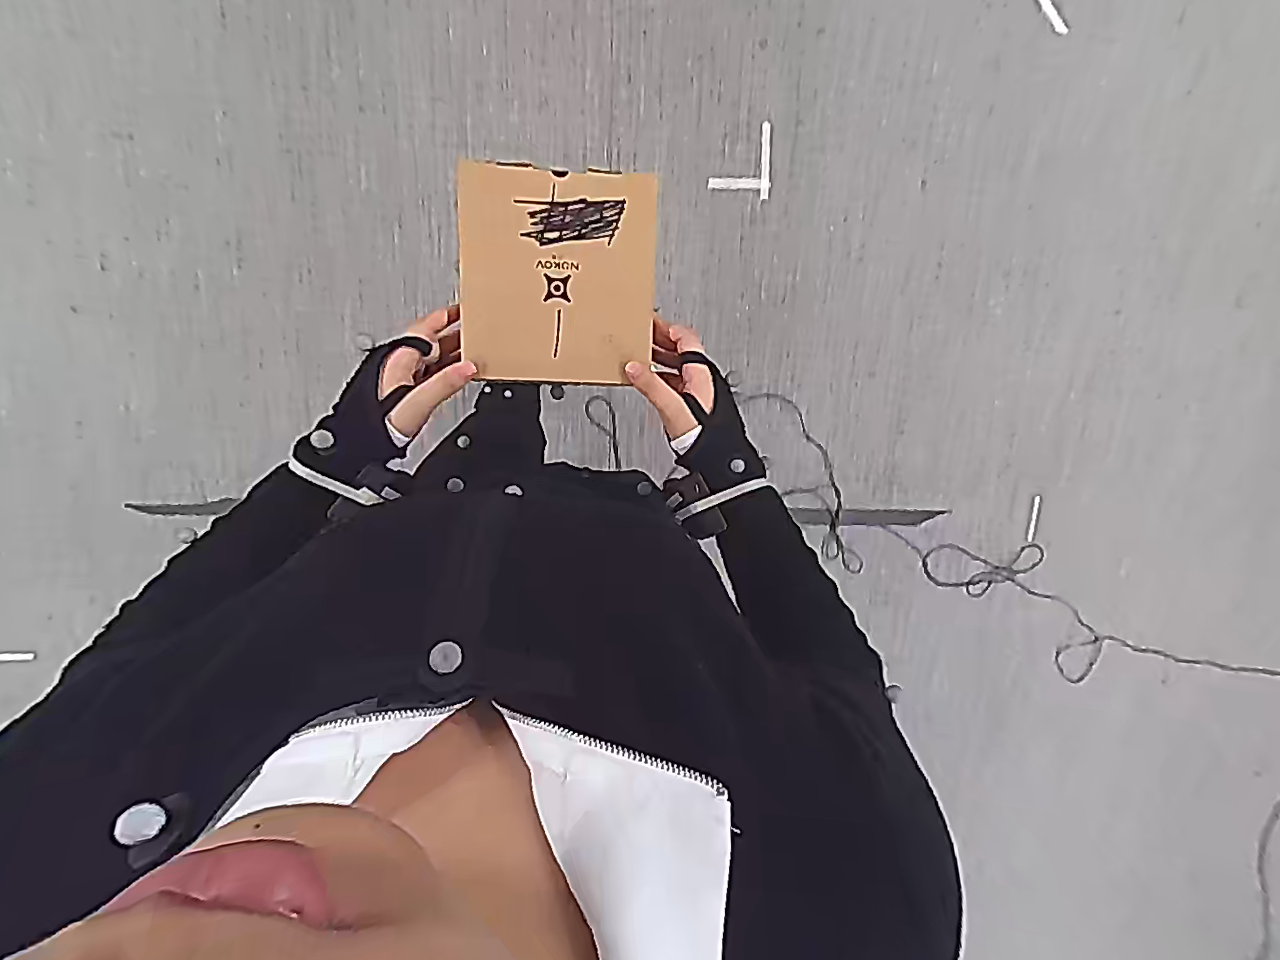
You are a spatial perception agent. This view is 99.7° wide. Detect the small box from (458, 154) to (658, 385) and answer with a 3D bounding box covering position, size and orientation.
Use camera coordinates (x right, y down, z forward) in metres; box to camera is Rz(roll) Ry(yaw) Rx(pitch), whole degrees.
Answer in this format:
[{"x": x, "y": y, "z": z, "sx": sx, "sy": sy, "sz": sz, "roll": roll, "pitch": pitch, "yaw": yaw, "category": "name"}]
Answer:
[{"x": -0.079, "y": -0.188, "z": 0.536, "sx": 0.168, "sy": 0.176, "sz": 0.179, "roll": 2, "pitch": 99, "yaw": -6, "category": "small box"}]
